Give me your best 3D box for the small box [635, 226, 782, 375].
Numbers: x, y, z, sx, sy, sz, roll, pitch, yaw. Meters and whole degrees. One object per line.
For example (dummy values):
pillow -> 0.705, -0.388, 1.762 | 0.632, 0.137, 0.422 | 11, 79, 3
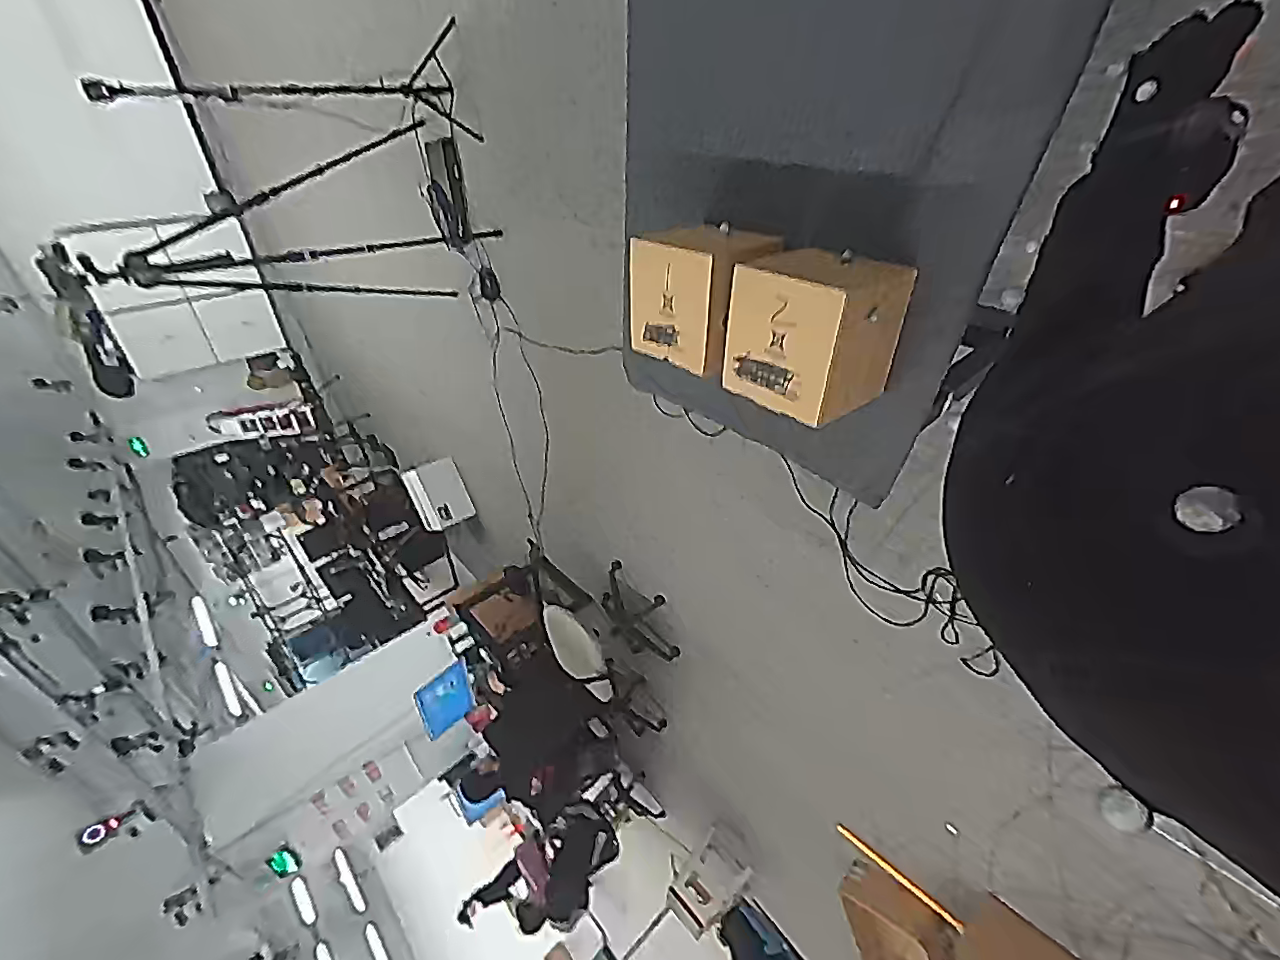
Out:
small box -> 0.108, -0.294, 0.868 | 0.168, 0.176, 0.179 | 31, 135, 37
